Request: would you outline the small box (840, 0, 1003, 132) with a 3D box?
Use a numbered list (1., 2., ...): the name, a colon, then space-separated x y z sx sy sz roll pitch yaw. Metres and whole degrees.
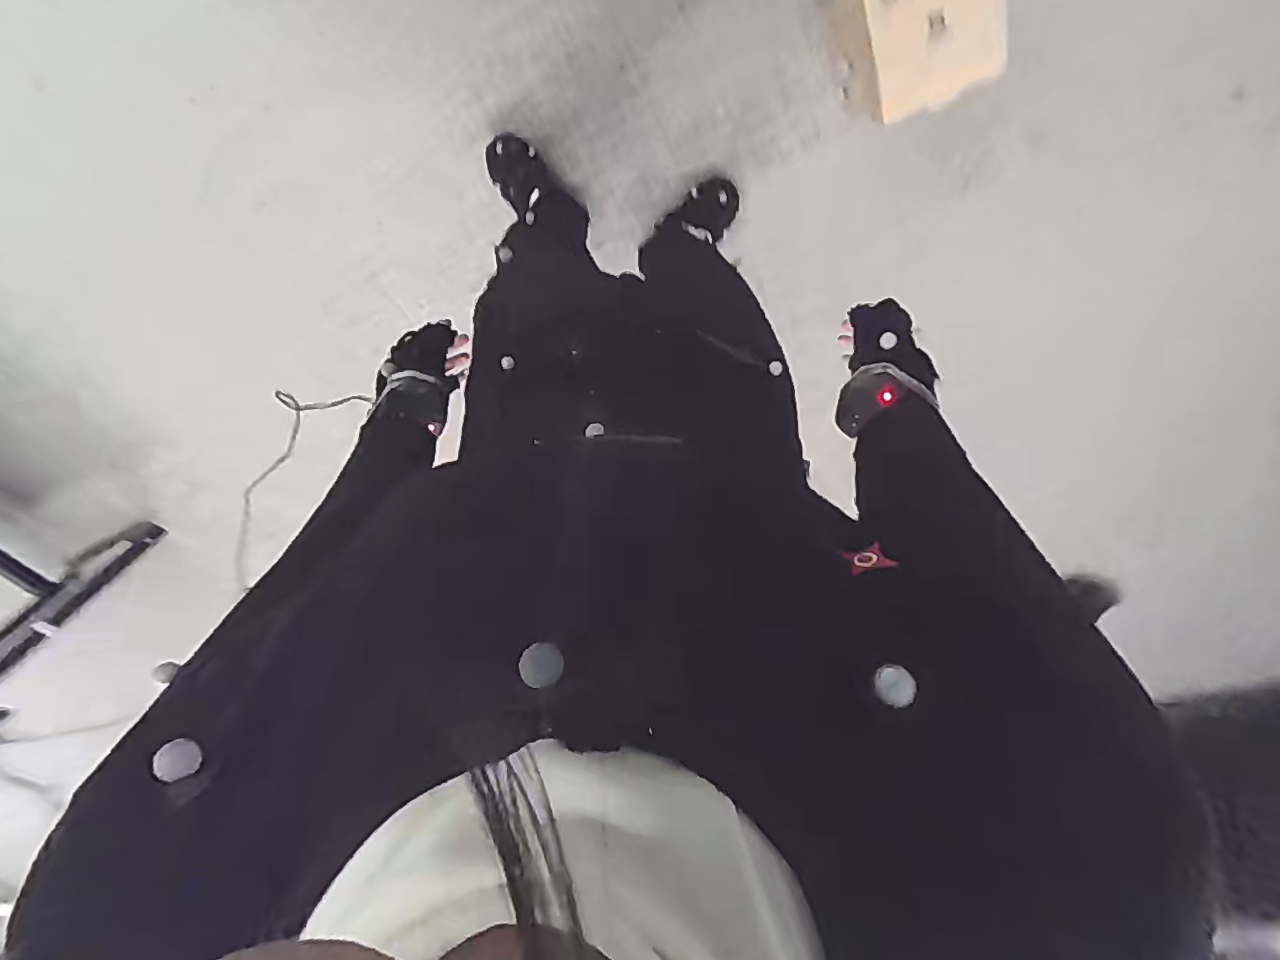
1. small box: 0.409 -0.652 0.799 0.168 0.176 0.179 -16 124 17
